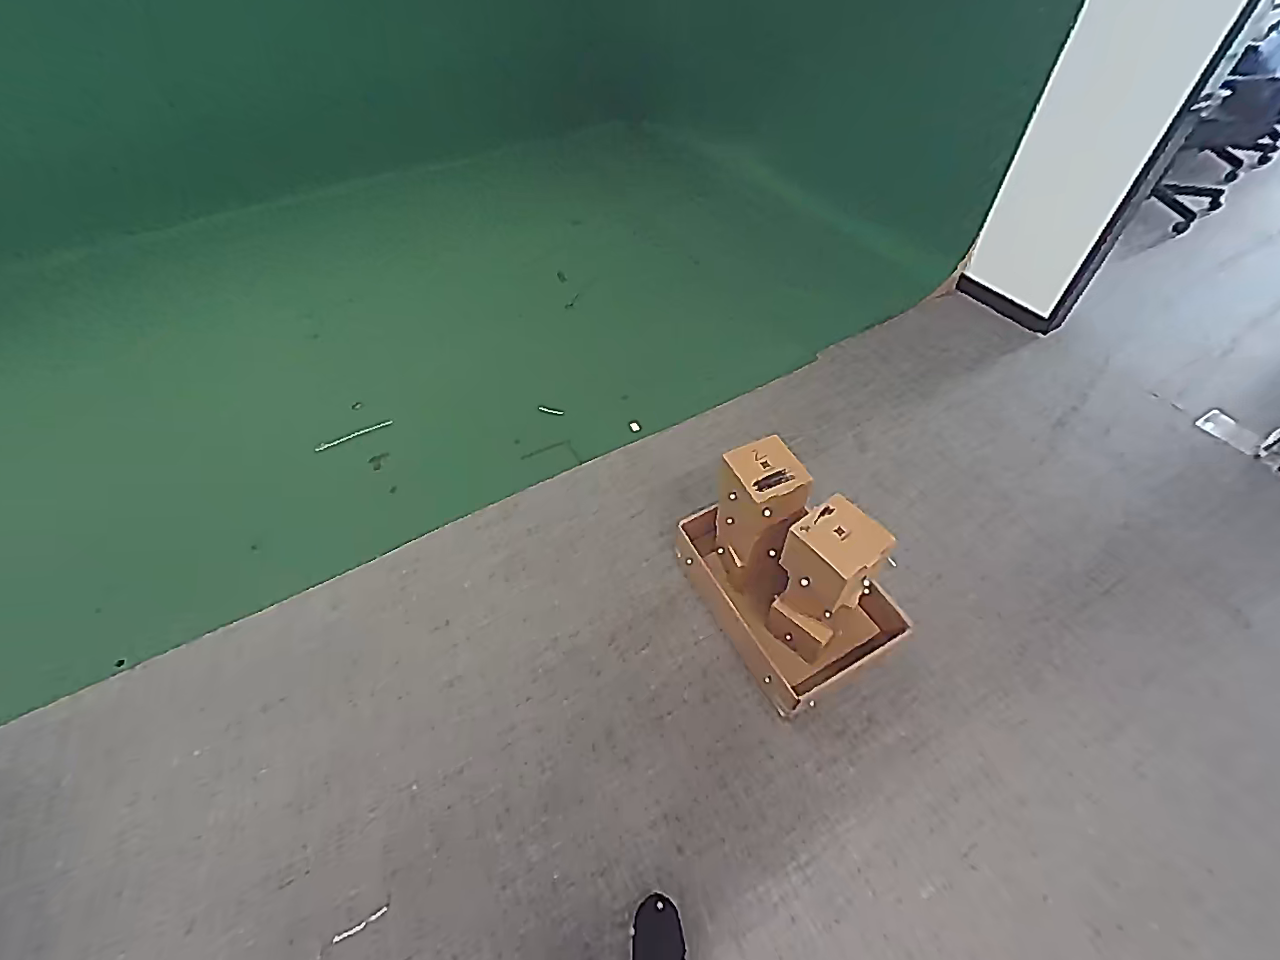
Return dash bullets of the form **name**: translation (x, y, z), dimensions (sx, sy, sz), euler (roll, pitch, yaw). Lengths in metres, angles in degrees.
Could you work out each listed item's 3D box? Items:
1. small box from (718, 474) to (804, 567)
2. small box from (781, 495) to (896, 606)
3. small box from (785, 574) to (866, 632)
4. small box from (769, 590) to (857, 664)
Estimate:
- **small box**: translation (0.337, 0.118, 1.549), dimensions (0.168, 0.176, 0.179), euler (-21, 55, -13)
- **small box**: translation (0.463, 0.177, 1.287), dimensions (0.168, 0.176, 0.179), euler (-31, 56, -19)
- **small box**: translation (0.496, 0.268, 1.421), dimensions (0.168, 0.176, 0.179), euler (28, 58, 23)
- **small box**: translation (0.482, 0.388, 1.535), dimensions (0.179, 0.176, 0.168), euler (-38, 58, -24)
